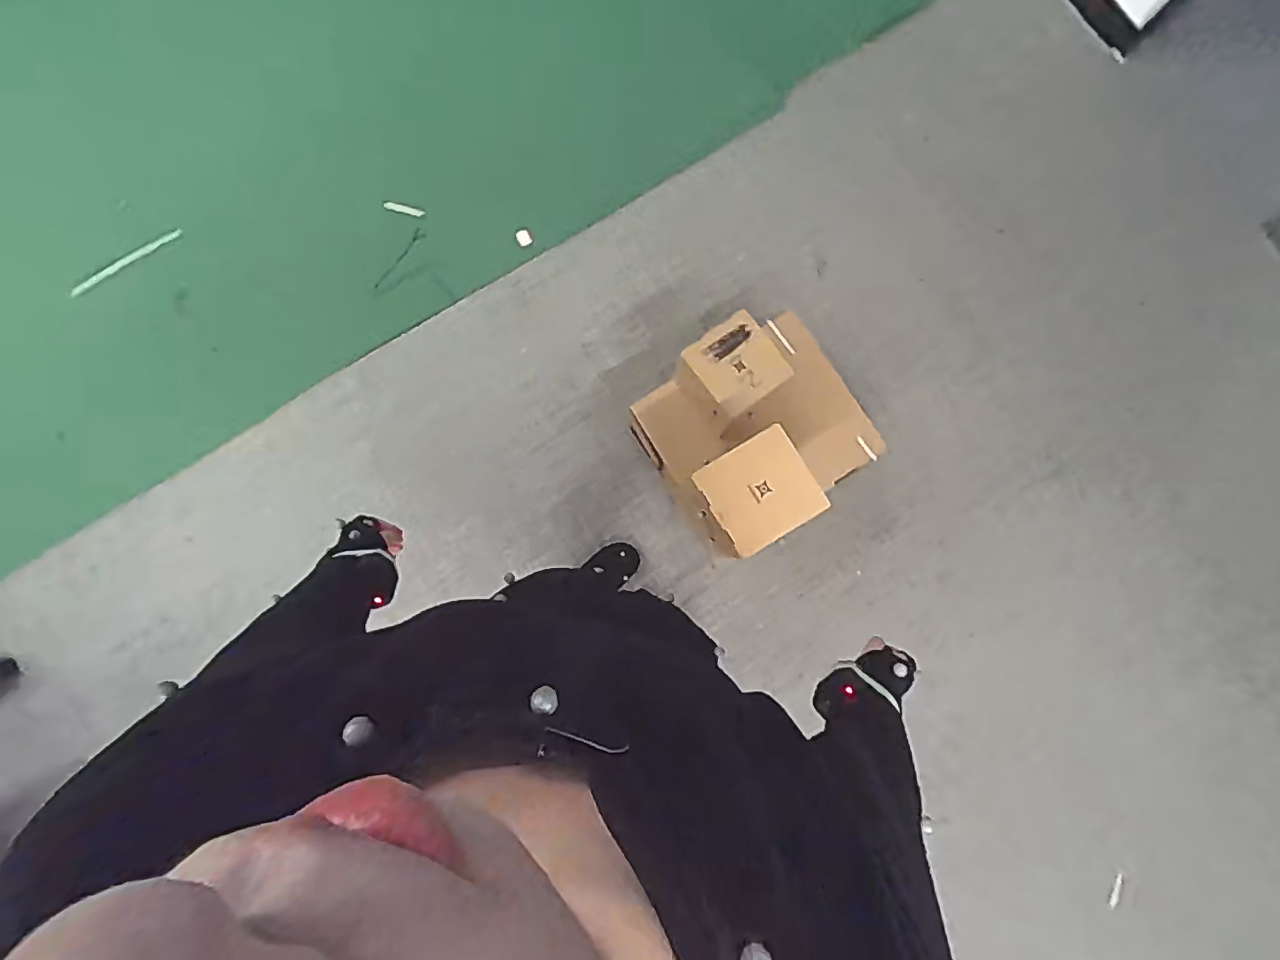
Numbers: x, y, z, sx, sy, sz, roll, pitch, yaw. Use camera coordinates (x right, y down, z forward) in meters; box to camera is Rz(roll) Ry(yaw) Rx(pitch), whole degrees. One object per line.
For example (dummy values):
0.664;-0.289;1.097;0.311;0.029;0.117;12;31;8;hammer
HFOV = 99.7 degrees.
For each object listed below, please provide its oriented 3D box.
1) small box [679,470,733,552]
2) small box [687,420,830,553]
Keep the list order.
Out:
0.197;0.032;1.133;0.168;0.176;0.179;-30;86;-3;small box
0.200;0.015;0.971;0.179;0.176;0.168;-30;86;-3;small box
